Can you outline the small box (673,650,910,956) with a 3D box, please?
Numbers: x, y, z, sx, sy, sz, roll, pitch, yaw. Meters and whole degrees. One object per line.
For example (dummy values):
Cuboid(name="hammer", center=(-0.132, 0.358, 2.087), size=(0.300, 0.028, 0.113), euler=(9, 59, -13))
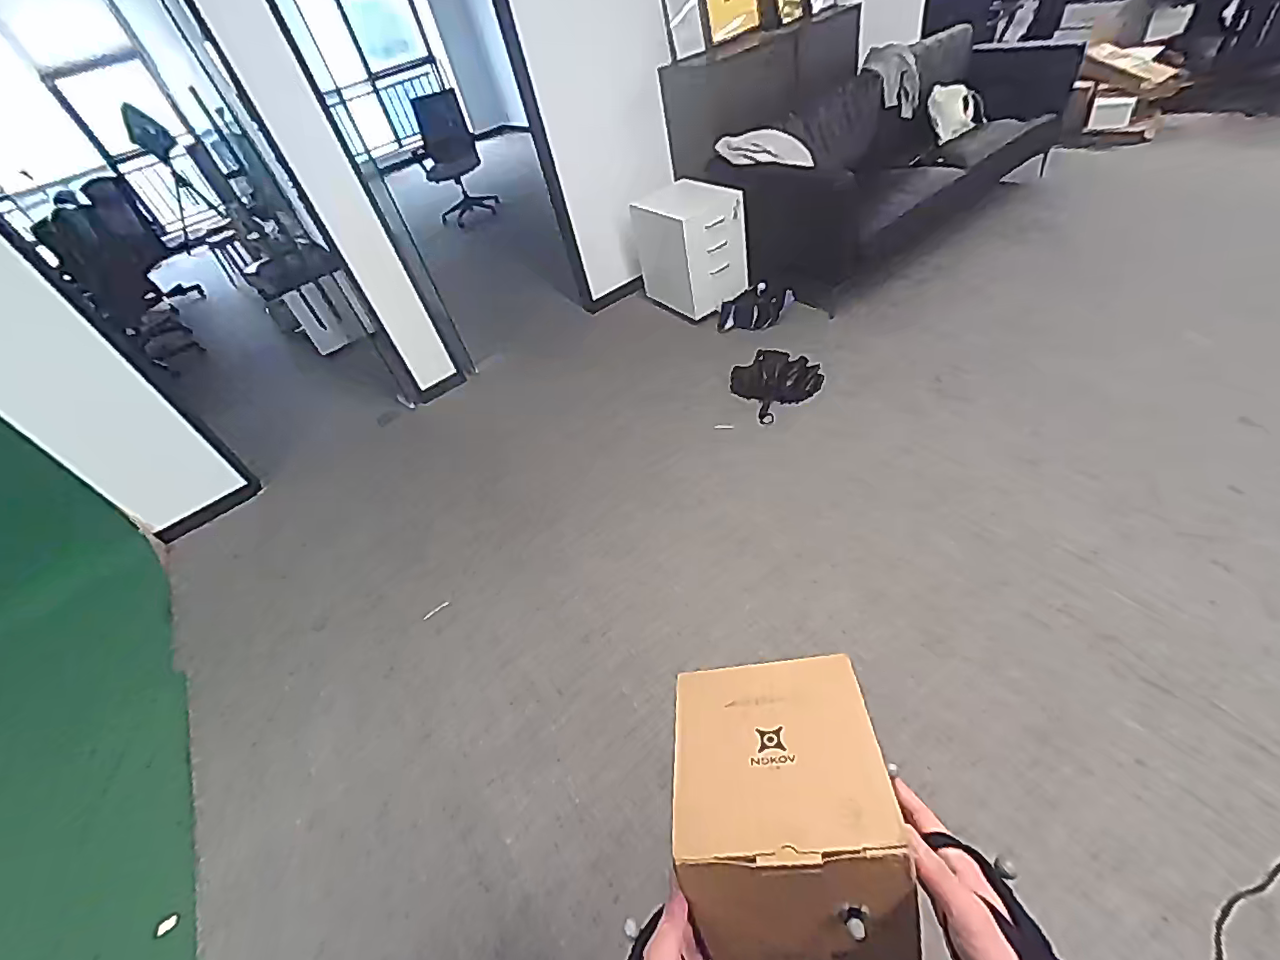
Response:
Cuboid(name="small box", center=(0.129, 0.283, 0.482), size=(0.168, 0.176, 0.179), euler=(-10, 26, 10))
